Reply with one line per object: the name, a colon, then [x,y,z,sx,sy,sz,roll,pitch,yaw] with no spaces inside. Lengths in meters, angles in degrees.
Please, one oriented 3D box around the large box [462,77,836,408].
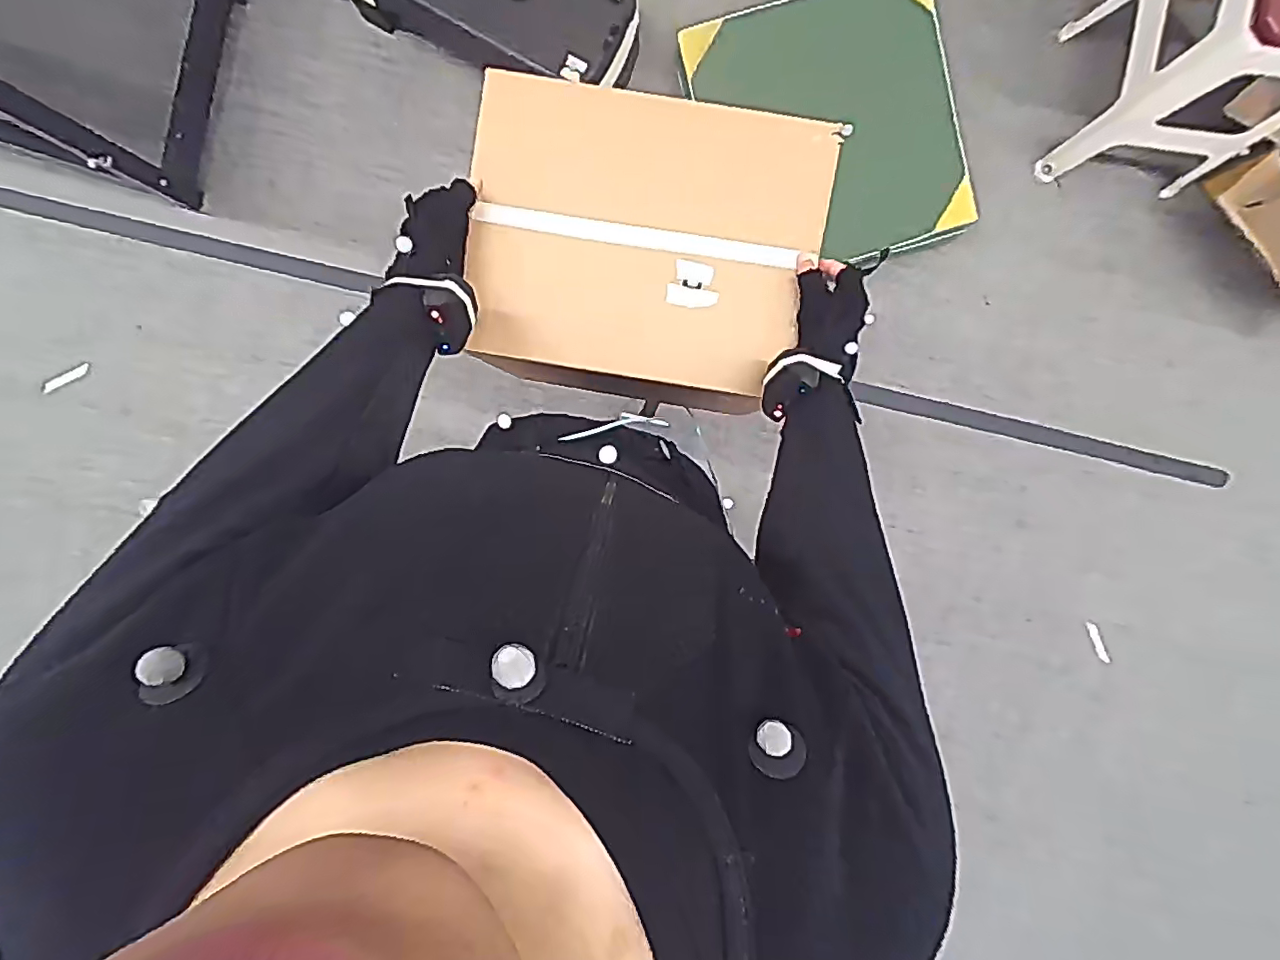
large box: [0.006,-0.293,0.775,0.408,0.320,0.320,10,95,0]
